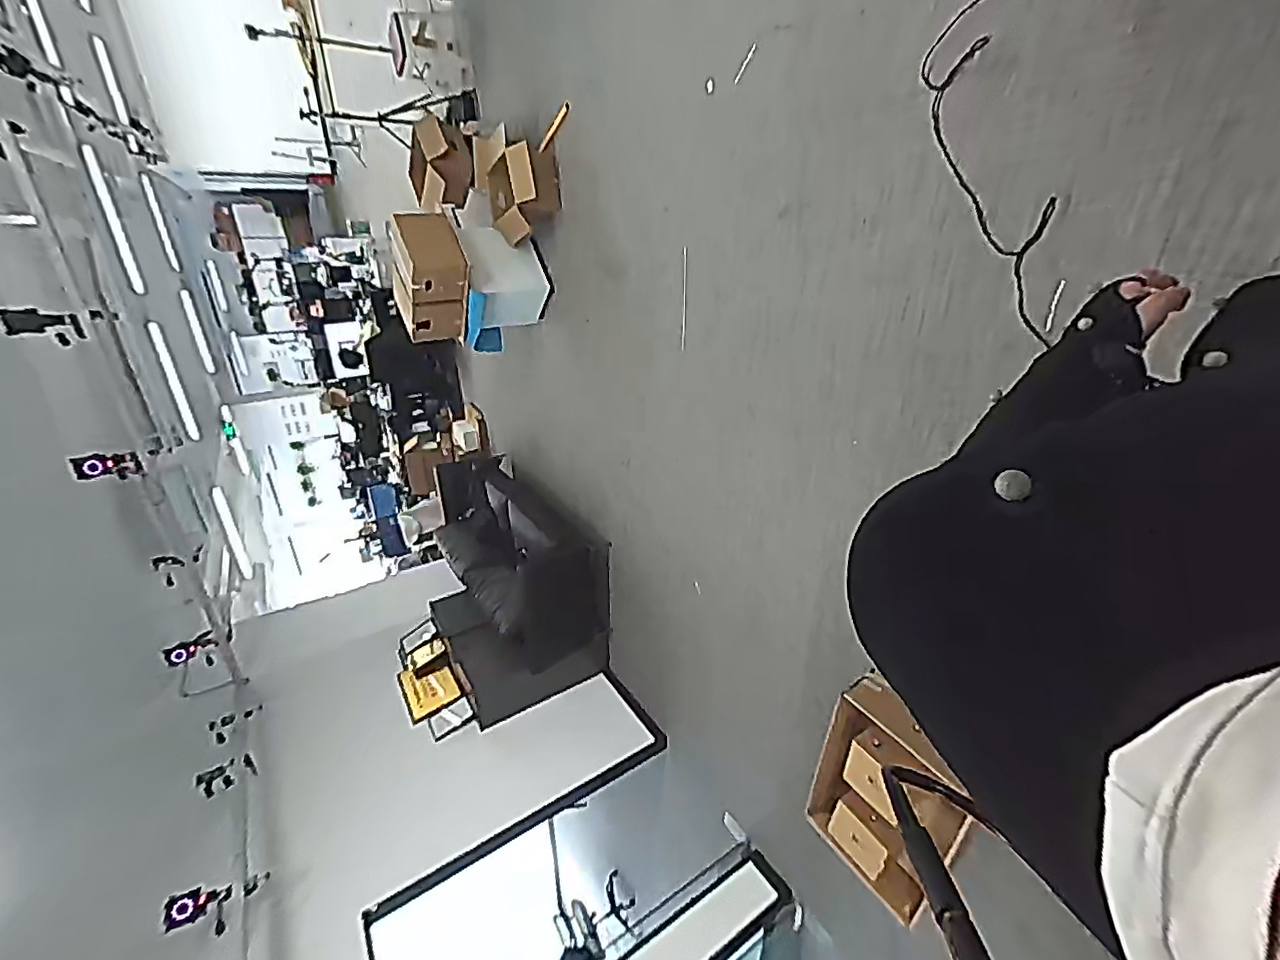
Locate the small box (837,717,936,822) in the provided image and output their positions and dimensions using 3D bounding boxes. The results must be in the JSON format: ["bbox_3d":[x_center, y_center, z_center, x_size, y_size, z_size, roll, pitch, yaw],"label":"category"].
[{"bbox_3d":[0.694,0.805,1.530,0.179,0.176,0.168,34,132,46],"label":"small box"}]

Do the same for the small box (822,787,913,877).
[{"bbox_3d":[0.695,1.045,1.650,0.179,0.176,0.168,39,134,45],"label":"small box"}]
